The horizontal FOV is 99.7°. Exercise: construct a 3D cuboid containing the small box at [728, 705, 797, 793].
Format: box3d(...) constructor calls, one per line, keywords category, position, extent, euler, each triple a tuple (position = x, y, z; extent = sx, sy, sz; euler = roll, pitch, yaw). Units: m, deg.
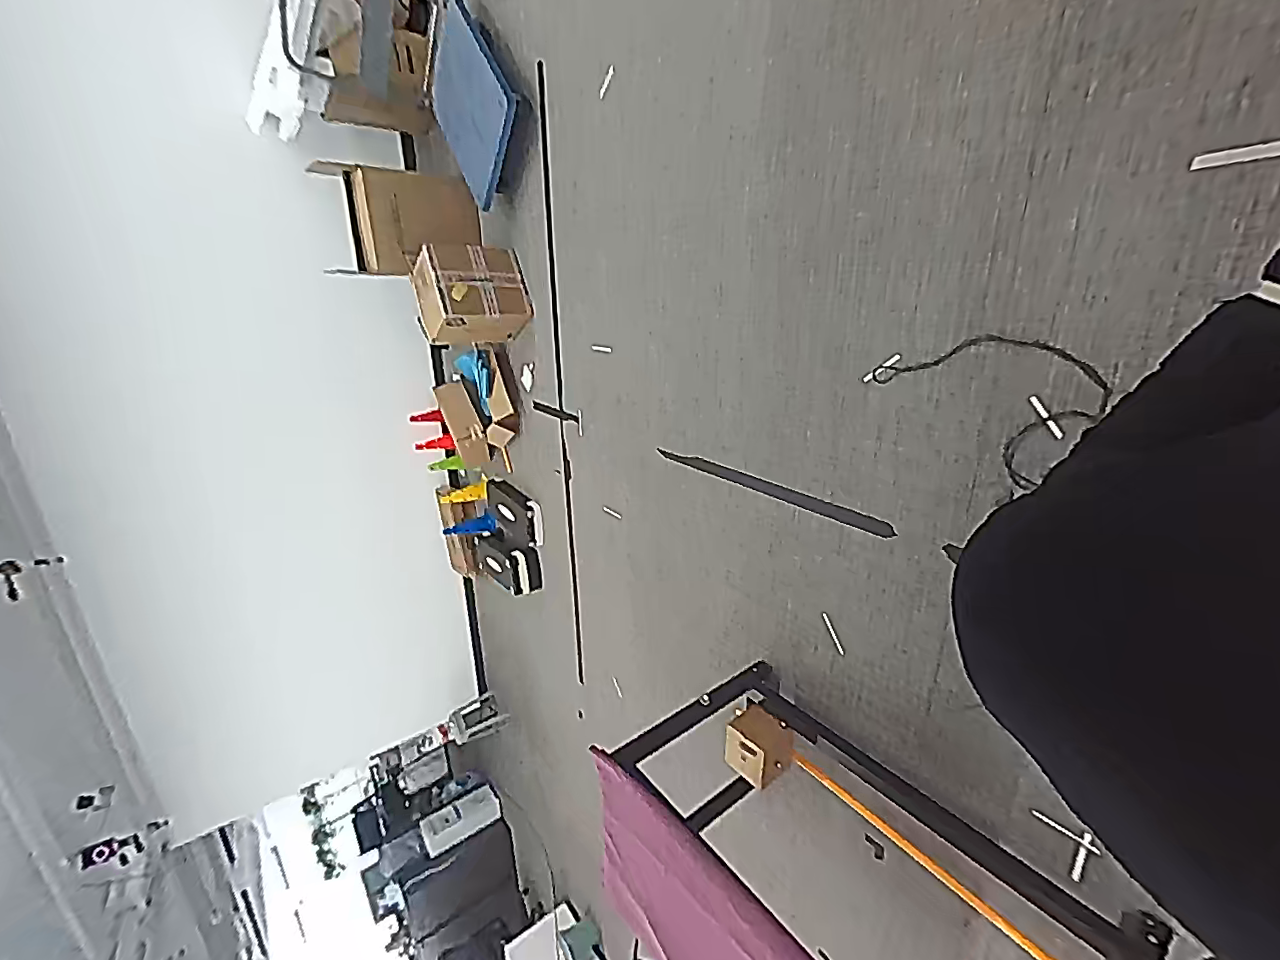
box3d(category="small box", position=(0.422, 0.915, 1.857), extent=(0.168, 0.176, 0.179), euler=(23, 121, 48))
